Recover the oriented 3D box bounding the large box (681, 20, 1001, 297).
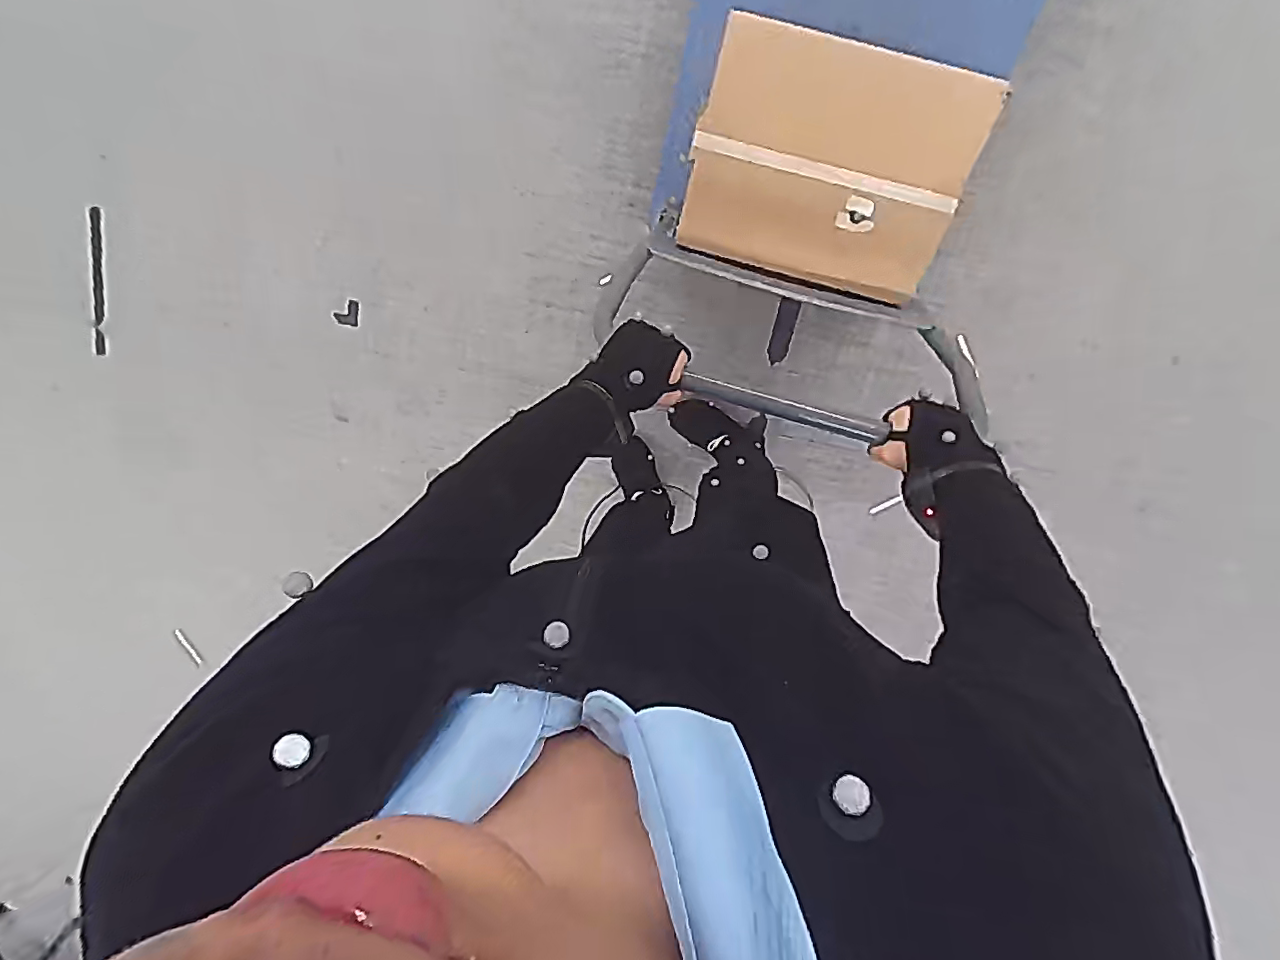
[{"bbox_3d":[0.309,-0.556,0.971,0.408,0.320,0.320,15,122,1],"label":"large box"}]
